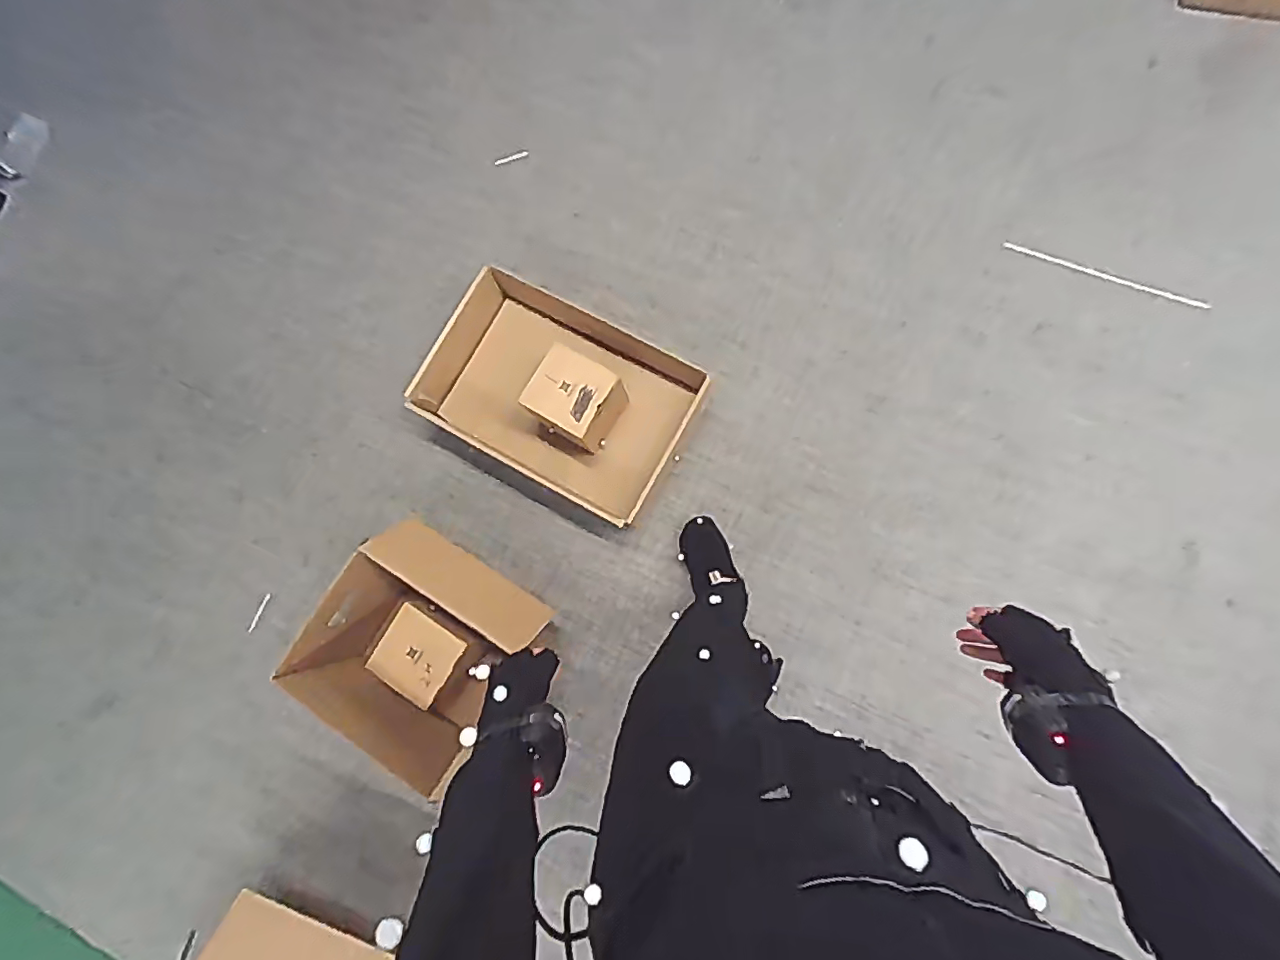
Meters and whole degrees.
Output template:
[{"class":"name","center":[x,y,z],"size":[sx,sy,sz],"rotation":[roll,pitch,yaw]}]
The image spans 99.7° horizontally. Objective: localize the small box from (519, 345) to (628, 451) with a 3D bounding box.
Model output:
[{"class":"small box","center":[-0.147,-0.183,1.277],"size":[0.179,0.176,0.168],"rotation":[31,85,12]}]
